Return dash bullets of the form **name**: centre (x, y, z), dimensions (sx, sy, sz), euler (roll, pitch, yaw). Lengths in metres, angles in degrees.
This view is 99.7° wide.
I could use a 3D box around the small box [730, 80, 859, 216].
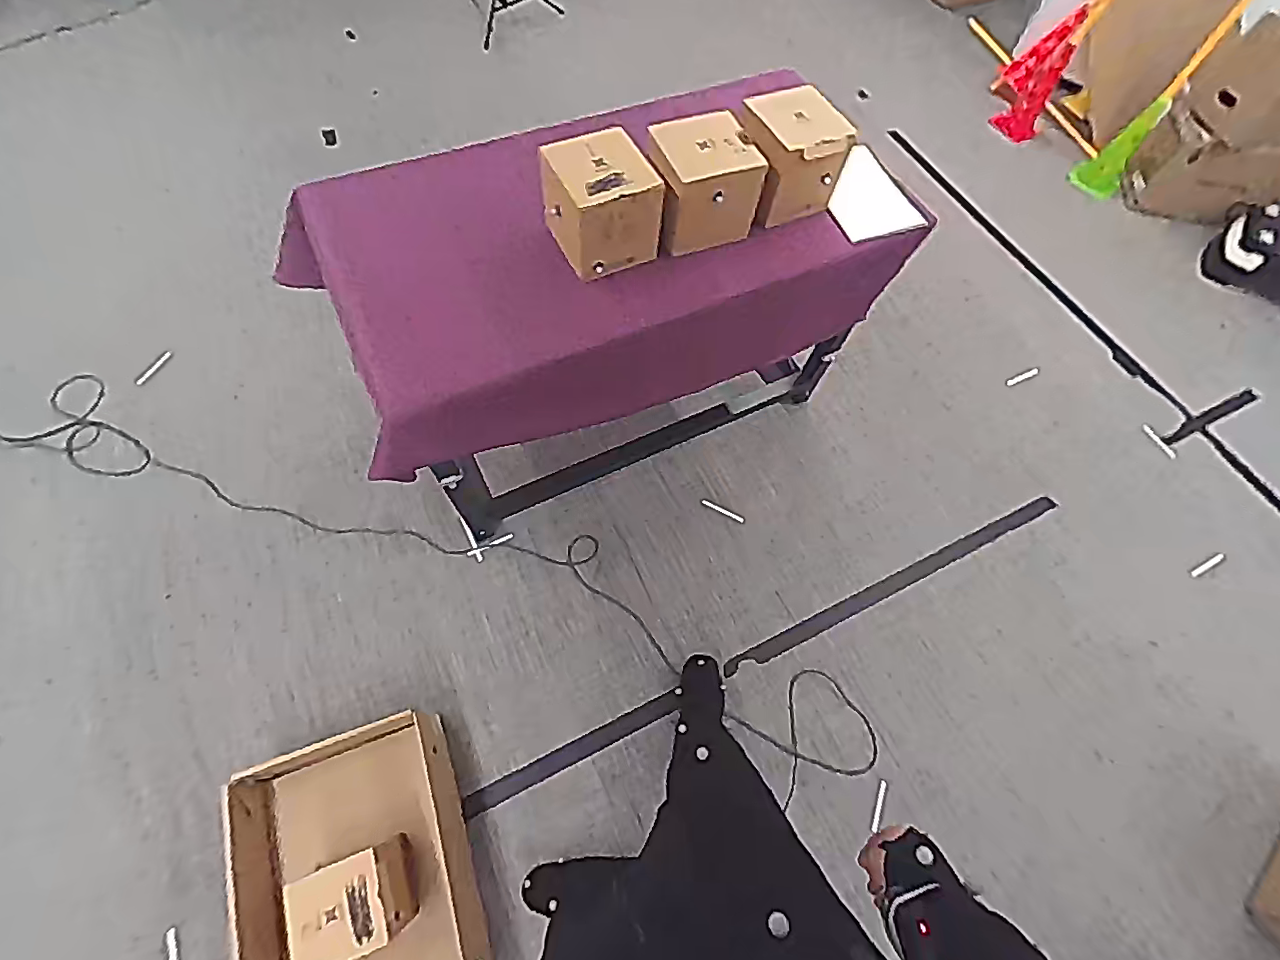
- **small box**: centre (0.307, -0.674, 1.116), dimensions (0.168, 0.176, 0.179), euler (-21, 68, -14)
